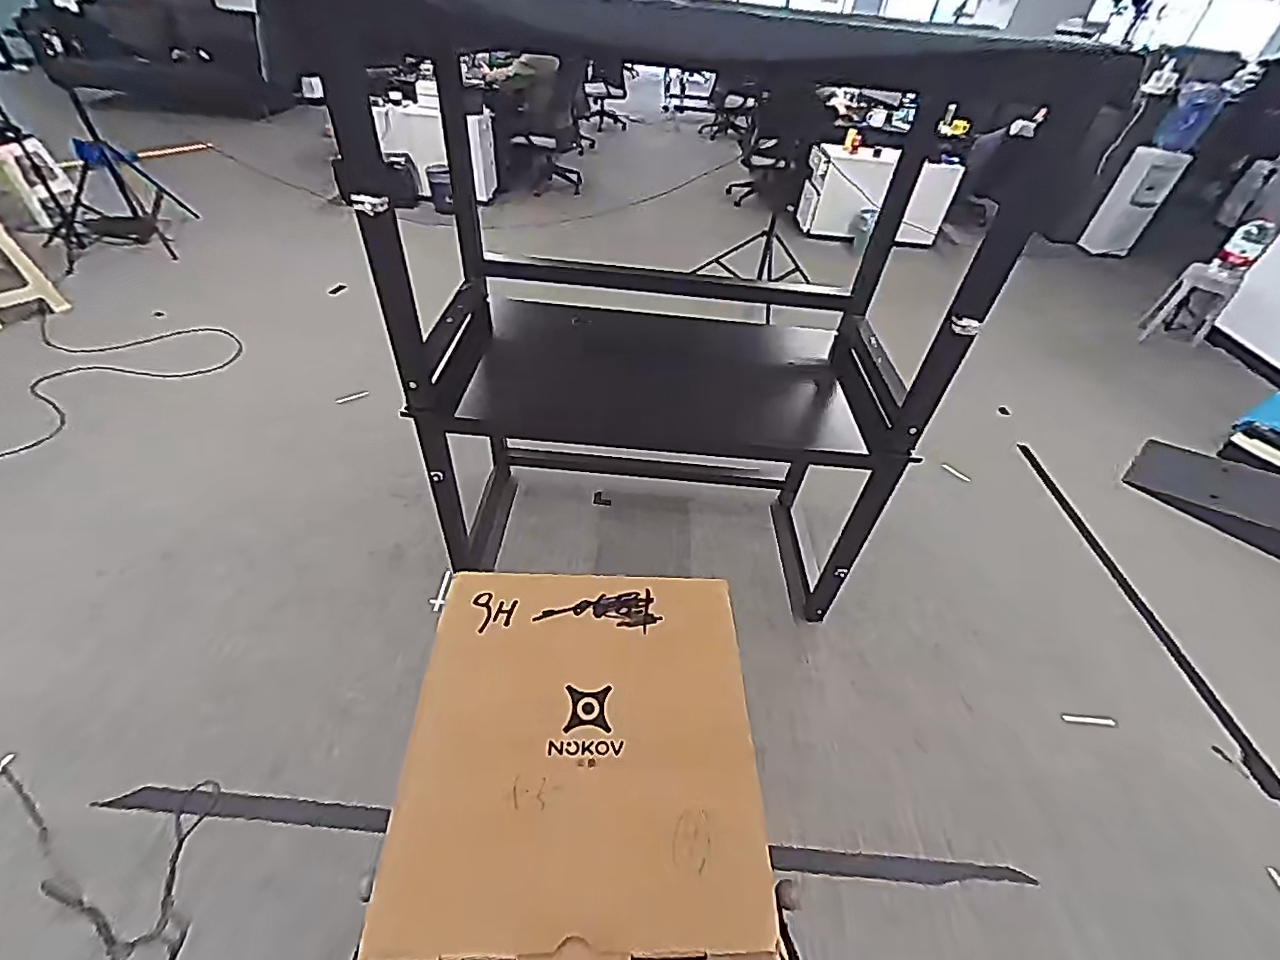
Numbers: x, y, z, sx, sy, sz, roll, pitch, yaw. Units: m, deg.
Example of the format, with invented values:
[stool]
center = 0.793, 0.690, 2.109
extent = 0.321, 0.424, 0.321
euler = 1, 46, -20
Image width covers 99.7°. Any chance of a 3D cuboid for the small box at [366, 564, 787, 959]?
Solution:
[small box]
center = -0.030, 0.170, 0.320
extent = 0.168, 0.176, 0.179
euler = 3, 48, -5
